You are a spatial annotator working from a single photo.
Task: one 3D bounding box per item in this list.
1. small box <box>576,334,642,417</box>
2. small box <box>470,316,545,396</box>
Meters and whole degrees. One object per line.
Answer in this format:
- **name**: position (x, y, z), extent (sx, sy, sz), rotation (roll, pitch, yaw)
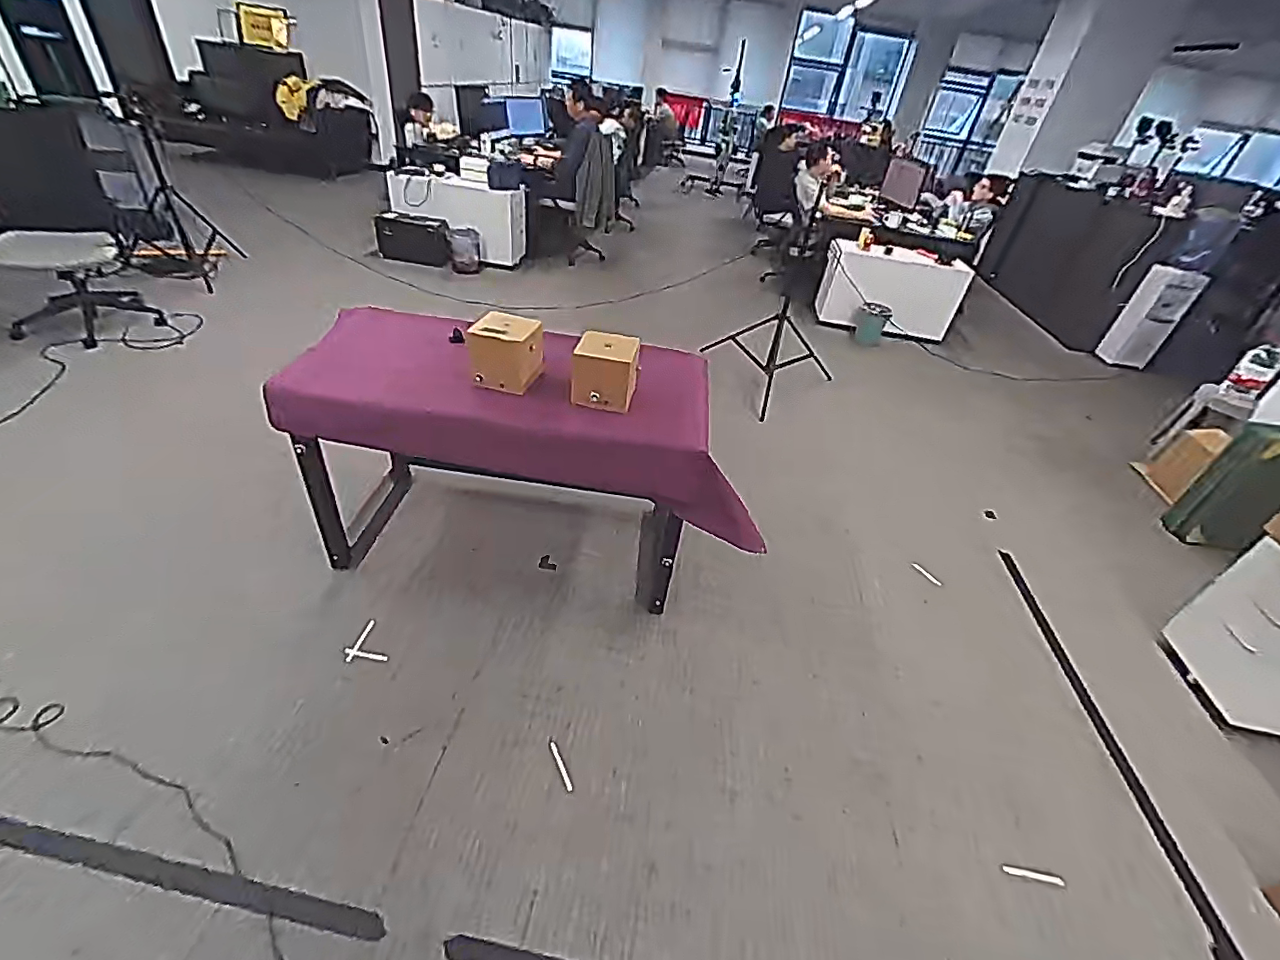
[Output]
- **small box**: position (-0.092, -0.310, 1.600), extent (0.168, 0.176, 0.179), rotation (9, 38, 3)
- **small box**: position (-0.389, -0.368, 1.613), extent (0.168, 0.176, 0.179), rotation (13, 36, 5)
